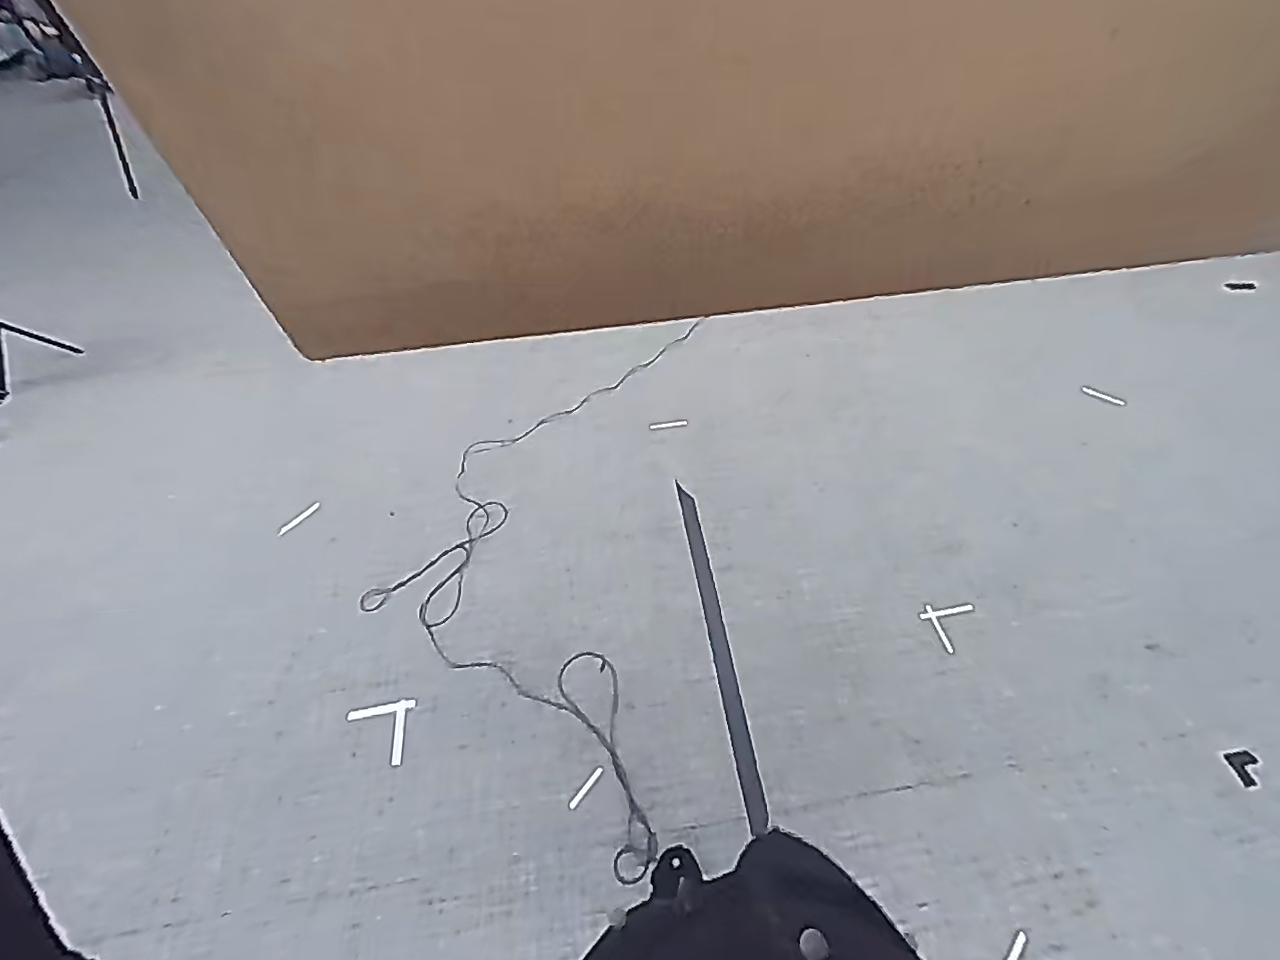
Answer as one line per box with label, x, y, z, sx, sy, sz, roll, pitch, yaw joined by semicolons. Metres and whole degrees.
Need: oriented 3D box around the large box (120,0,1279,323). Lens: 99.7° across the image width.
large box;0.038;-0.292;0.203;0.408;0.320;0.320;-7;52;-2
